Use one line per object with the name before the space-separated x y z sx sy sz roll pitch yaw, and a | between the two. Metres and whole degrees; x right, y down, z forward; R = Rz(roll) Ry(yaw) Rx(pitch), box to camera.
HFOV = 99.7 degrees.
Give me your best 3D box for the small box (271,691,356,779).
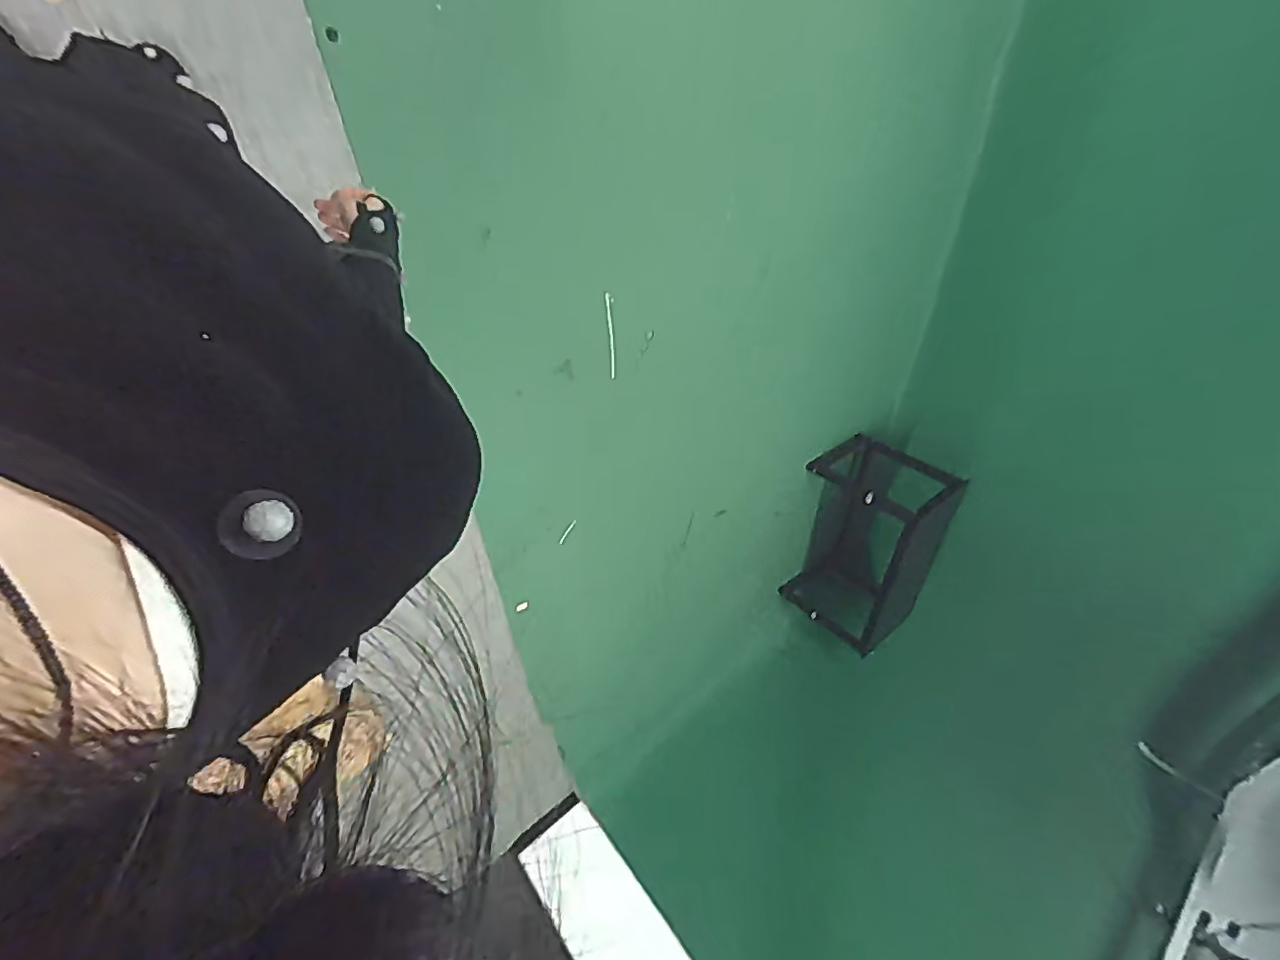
small box | -1.069 0.823 1.768 0.168 0.176 0.179 -31 137 -27
